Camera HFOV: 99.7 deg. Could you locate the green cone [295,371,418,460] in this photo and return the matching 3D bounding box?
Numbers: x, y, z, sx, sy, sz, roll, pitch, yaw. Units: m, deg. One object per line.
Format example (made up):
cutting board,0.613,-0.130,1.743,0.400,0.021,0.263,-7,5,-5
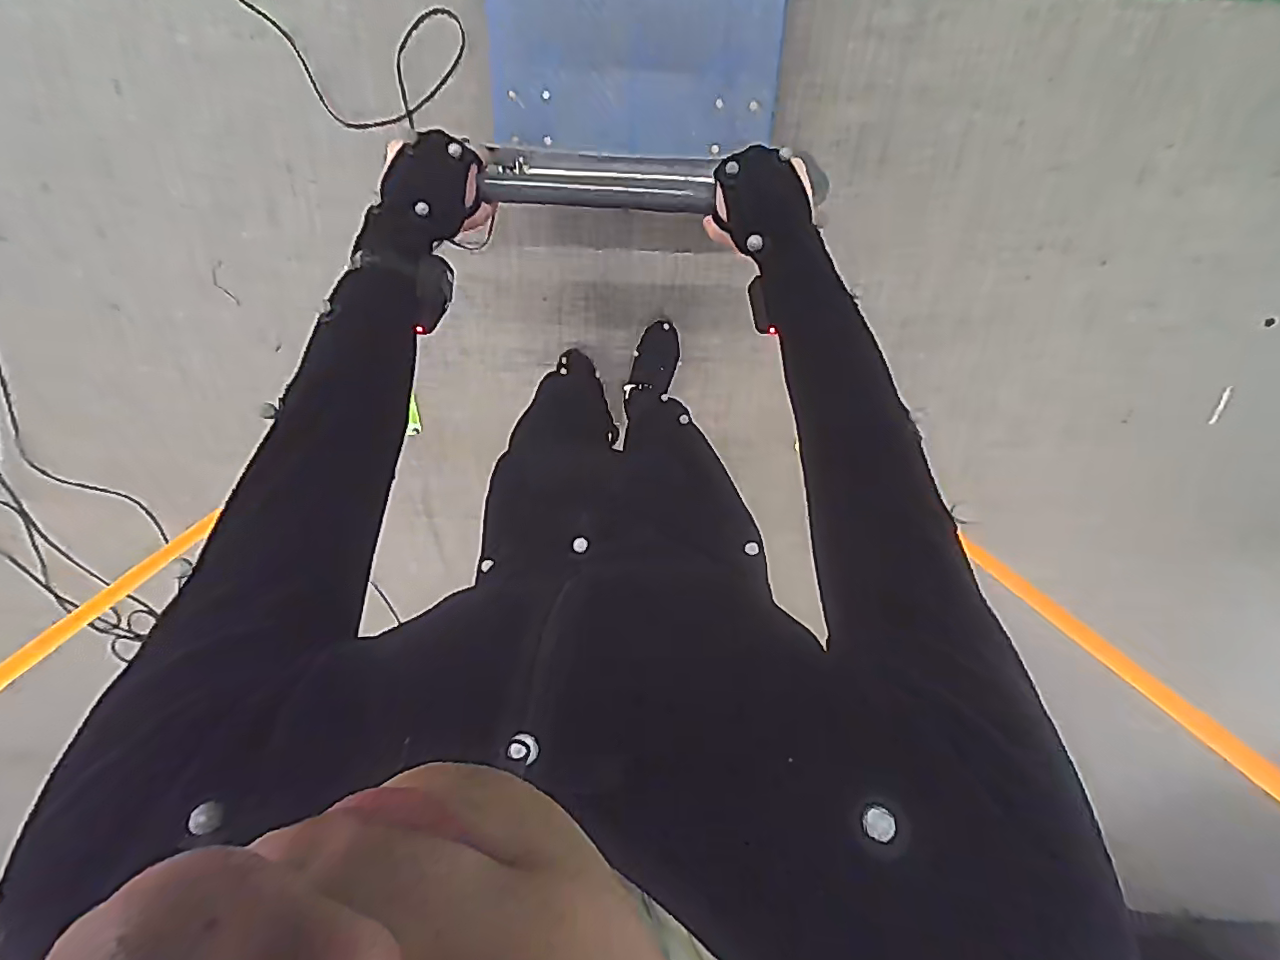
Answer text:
green cone,-0.767,-0.144,1.415,0.202,0.368,0.200,-1,115,4
